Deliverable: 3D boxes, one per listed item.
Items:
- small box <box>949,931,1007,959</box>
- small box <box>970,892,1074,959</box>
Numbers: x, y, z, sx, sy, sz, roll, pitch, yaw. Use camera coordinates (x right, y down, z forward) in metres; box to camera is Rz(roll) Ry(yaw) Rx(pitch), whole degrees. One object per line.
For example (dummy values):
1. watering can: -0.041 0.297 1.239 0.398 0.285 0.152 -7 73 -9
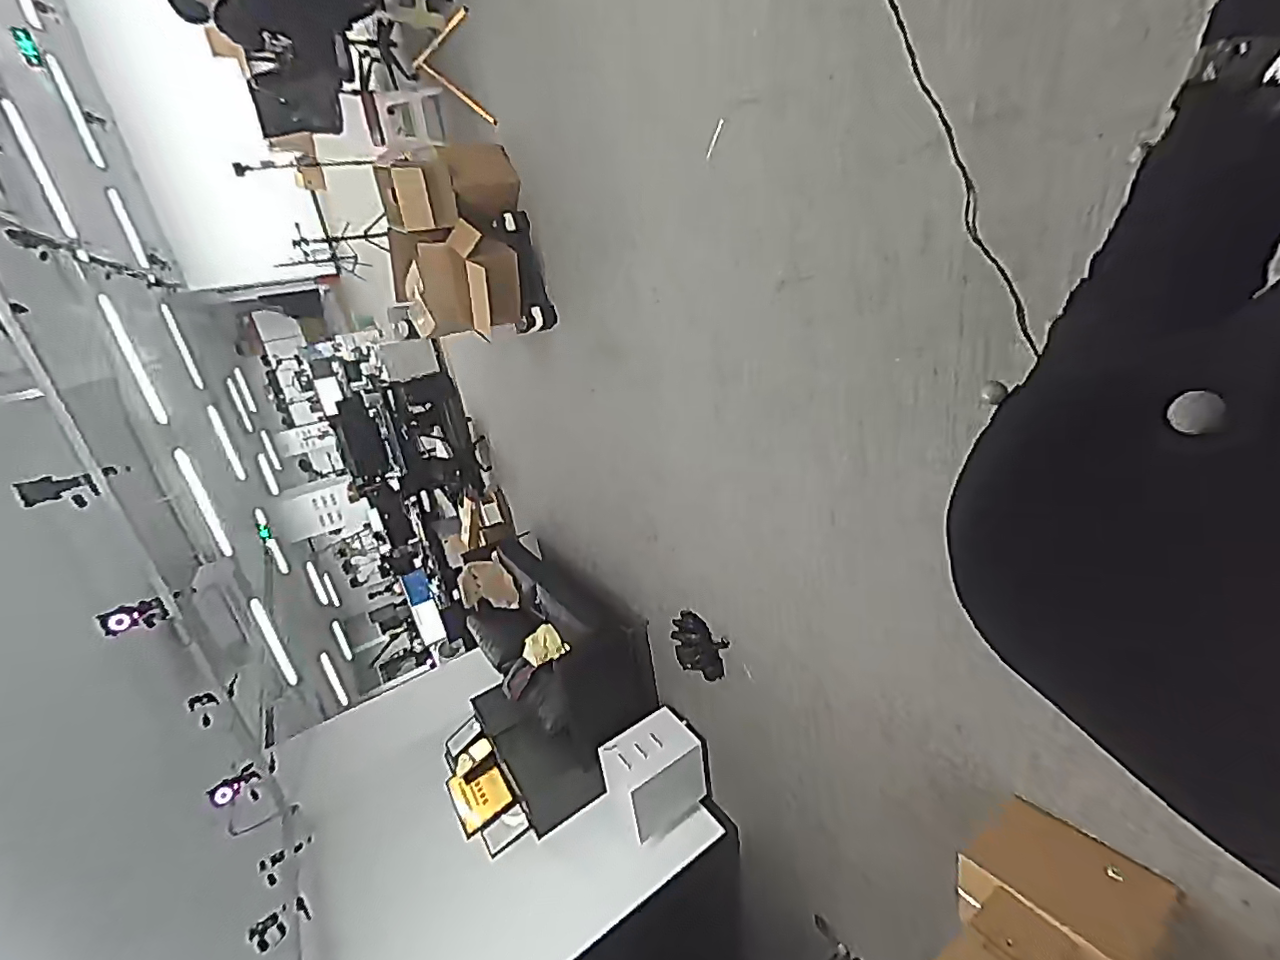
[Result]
1. small box: 0.860 1.290 1.339 0.168 0.176 0.179 16 120 56
2. small box: 0.997 1.246 1.416 0.179 0.176 0.168 20 124 56
